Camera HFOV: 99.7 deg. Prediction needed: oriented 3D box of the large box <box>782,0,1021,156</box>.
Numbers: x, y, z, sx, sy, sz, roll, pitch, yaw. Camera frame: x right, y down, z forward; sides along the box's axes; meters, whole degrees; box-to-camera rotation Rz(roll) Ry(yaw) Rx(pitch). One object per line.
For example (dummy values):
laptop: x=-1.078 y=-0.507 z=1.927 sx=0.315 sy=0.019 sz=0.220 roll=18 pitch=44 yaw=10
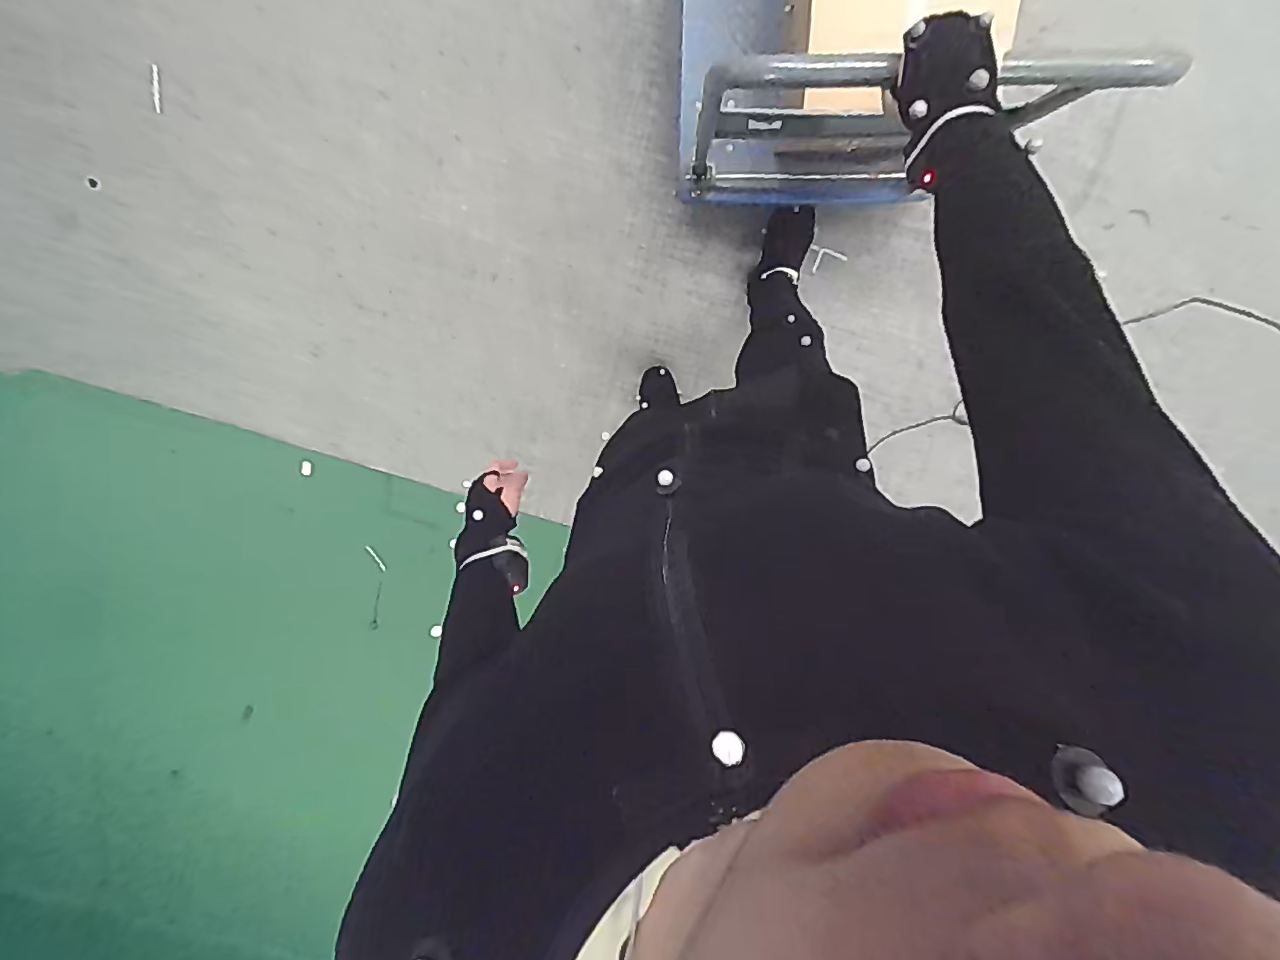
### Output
large box: x=0.435 y=-0.833 z=0.949 sx=0.320 sy=0.320 sz=0.408 roll=0 pitch=111 yaw=4
